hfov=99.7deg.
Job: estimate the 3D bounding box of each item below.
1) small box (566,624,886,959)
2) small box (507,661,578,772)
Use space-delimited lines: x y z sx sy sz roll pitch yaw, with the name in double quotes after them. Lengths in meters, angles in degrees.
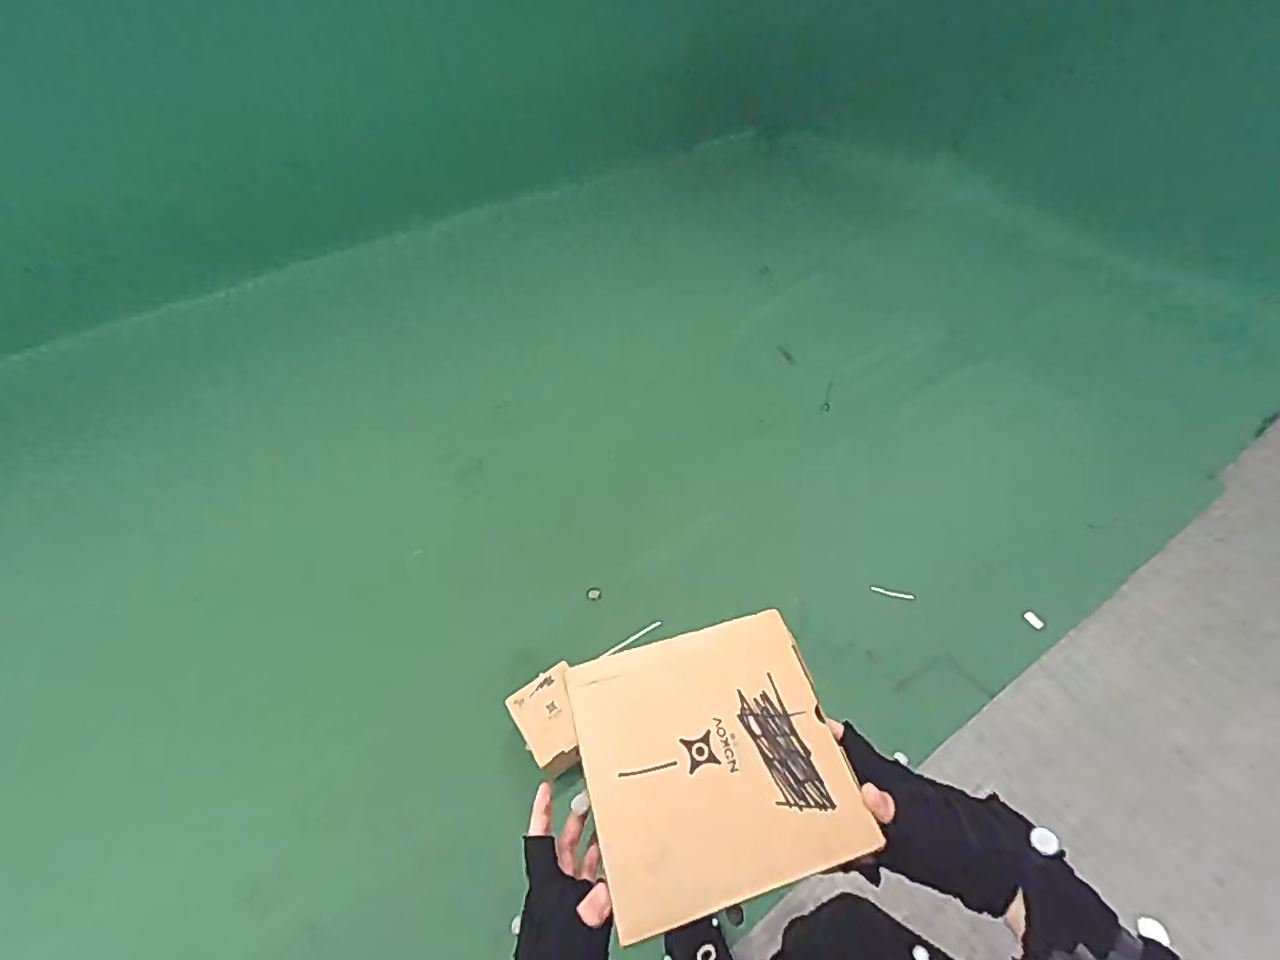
0.047 0.238 0.426 0.179 0.176 0.168 -13 55 -11 "small box"
-0.191 0.572 1.293 0.168 0.176 0.179 -30 59 -18 "small box"
